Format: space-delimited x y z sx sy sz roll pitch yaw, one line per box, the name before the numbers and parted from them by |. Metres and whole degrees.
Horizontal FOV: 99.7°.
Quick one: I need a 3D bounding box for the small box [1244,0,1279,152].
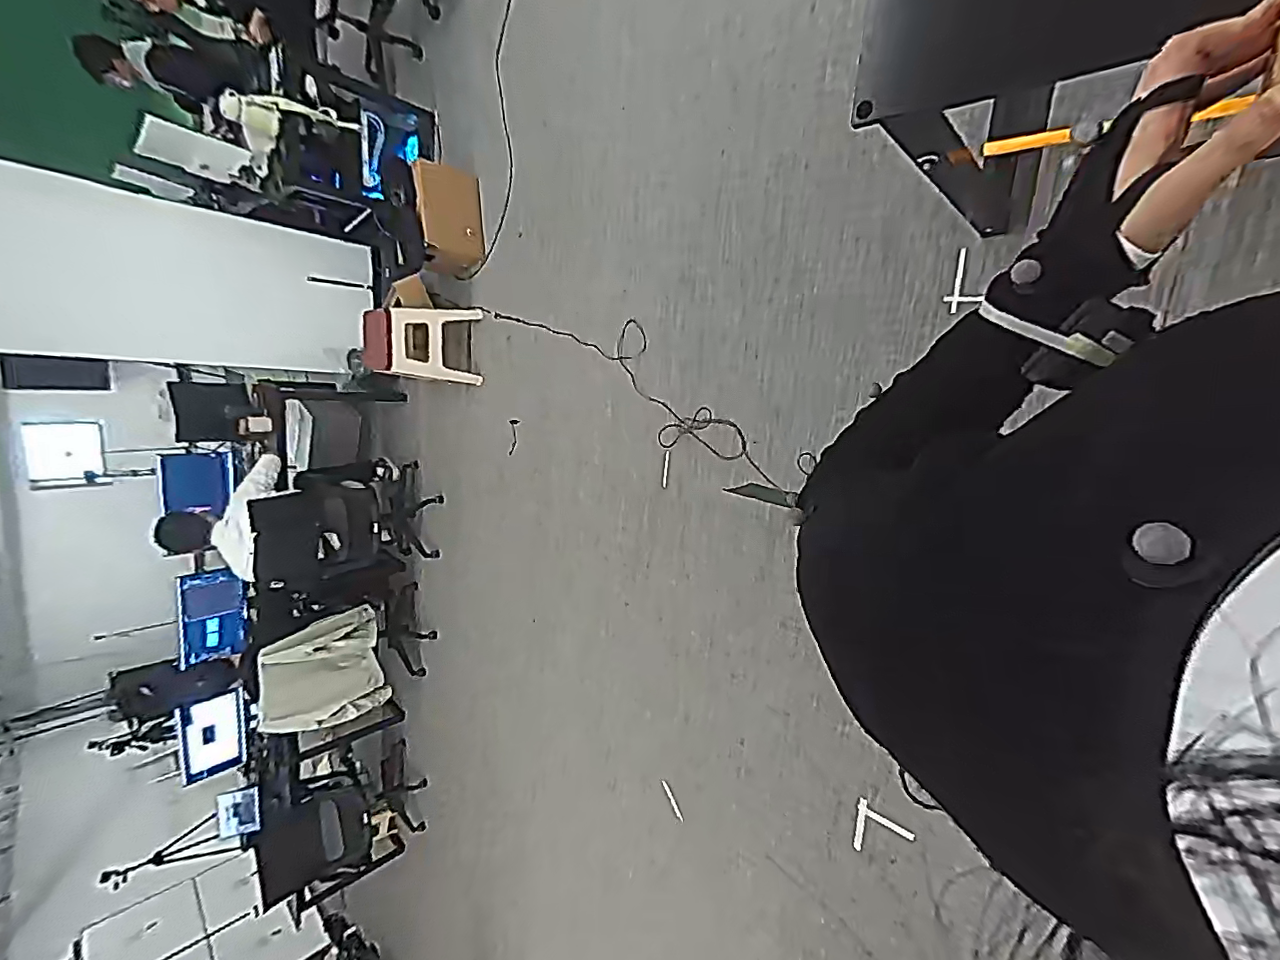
small box | 0.391 -0.268 0.225 0.168 0.176 0.179 11 110 44
